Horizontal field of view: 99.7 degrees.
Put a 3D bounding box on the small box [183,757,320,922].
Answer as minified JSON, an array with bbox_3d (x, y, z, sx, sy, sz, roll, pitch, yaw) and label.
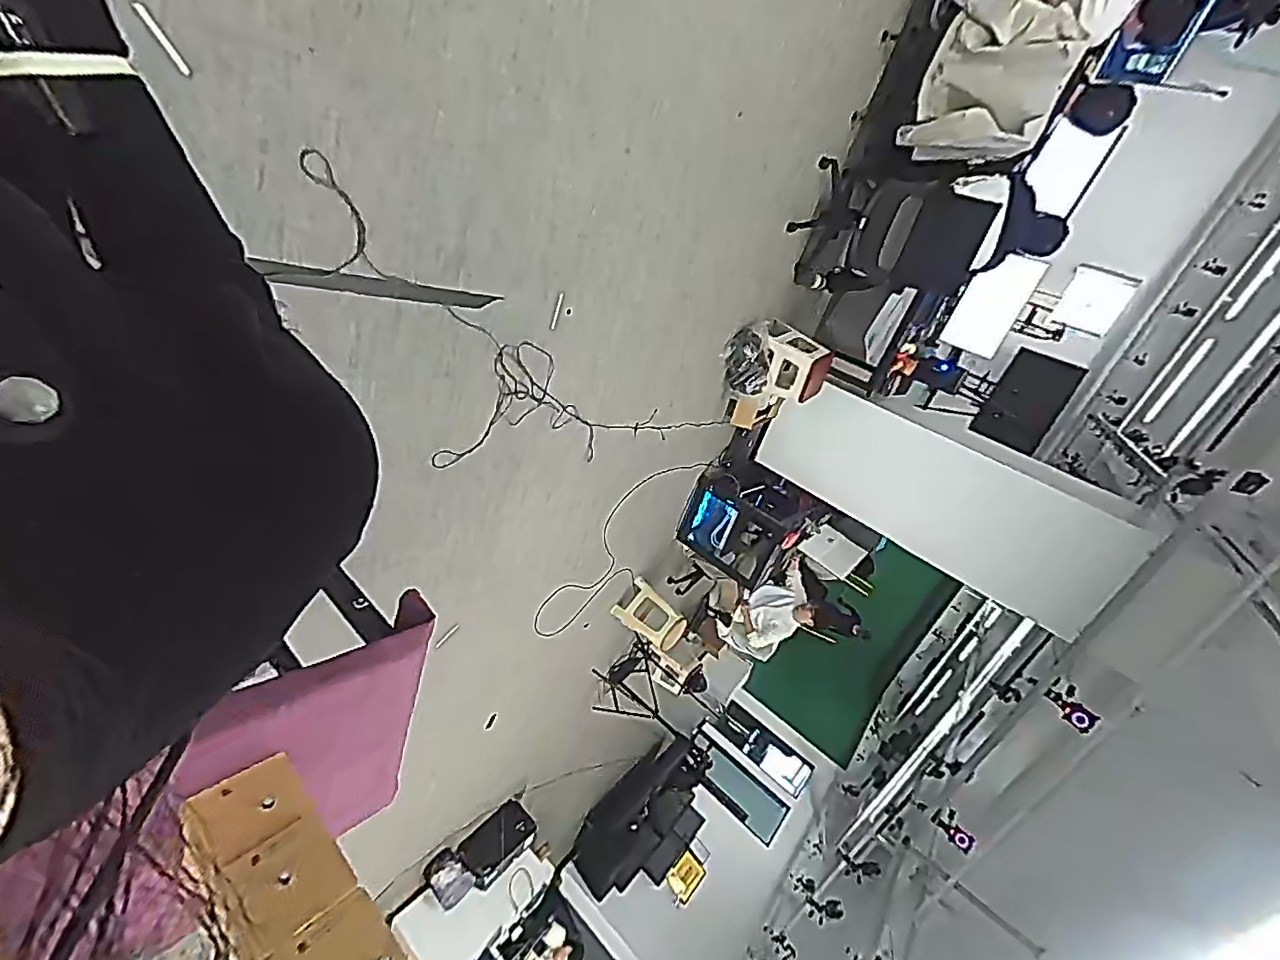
[{"bbox_3d":[-0.740,0.666,1.030,0.168,0.176,0.179,-17,134,-52],"label":"small box"}]

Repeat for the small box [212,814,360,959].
[{"bbox_3d":[-0.614,0.731,0.945,0.168,0.176,0.179,-21,137,-49],"label":"small box"}]
